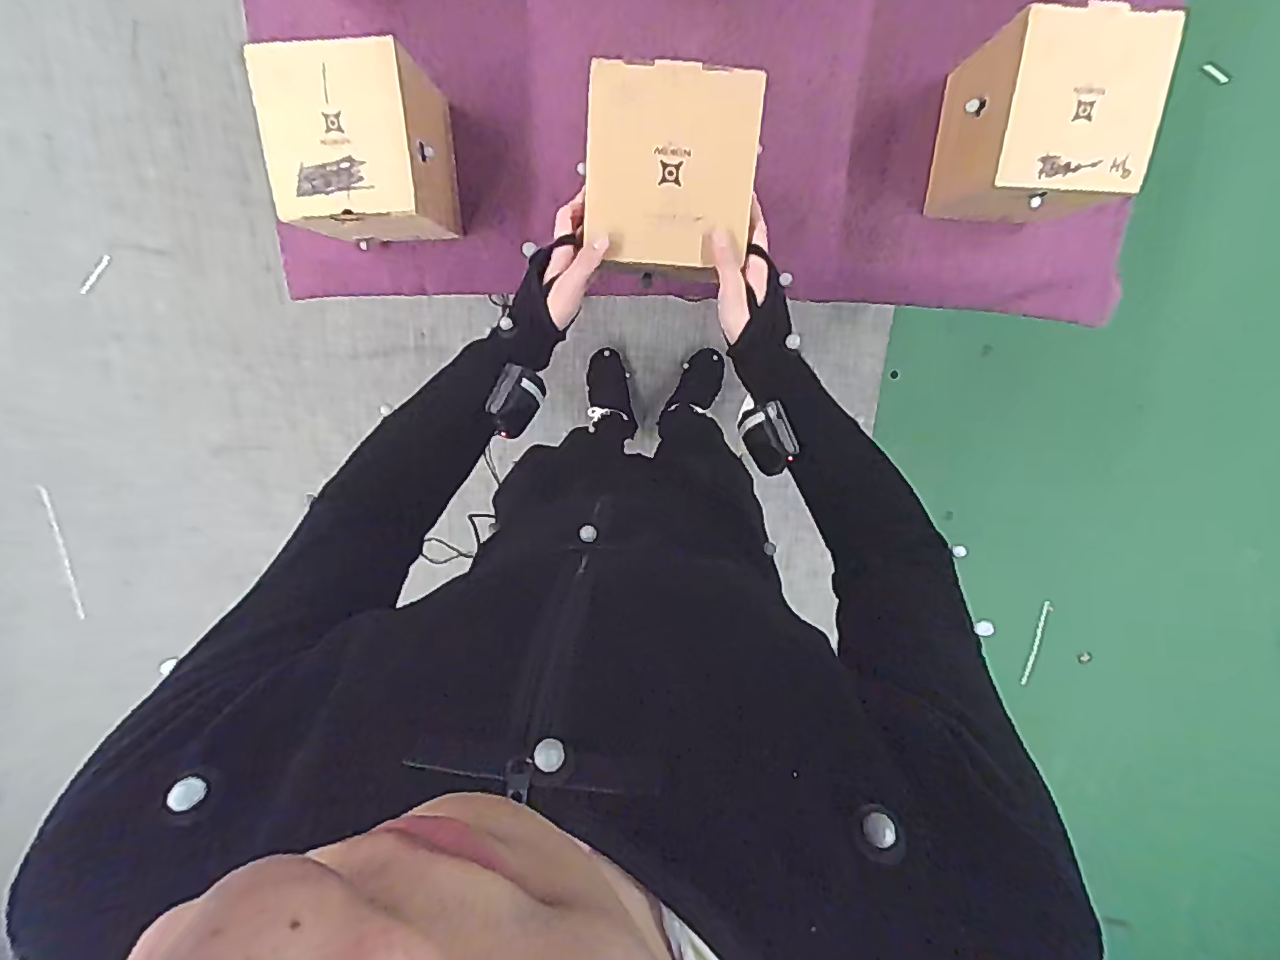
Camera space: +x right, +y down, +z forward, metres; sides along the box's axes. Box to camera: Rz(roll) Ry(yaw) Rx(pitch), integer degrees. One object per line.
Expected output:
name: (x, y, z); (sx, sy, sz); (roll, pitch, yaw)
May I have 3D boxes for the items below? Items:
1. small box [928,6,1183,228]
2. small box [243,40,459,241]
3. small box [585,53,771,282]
small box: (0.483, -0.425, 0.662); (0.168, 0.176, 0.179); (3, 105, 0)
small box: (-0.338, -0.402, 0.674); (0.168, 0.176, 0.179); (-2, 105, 1)
small box: (0.034, -0.322, 0.594); (0.168, 0.176, 0.179); (5, 107, 0)
